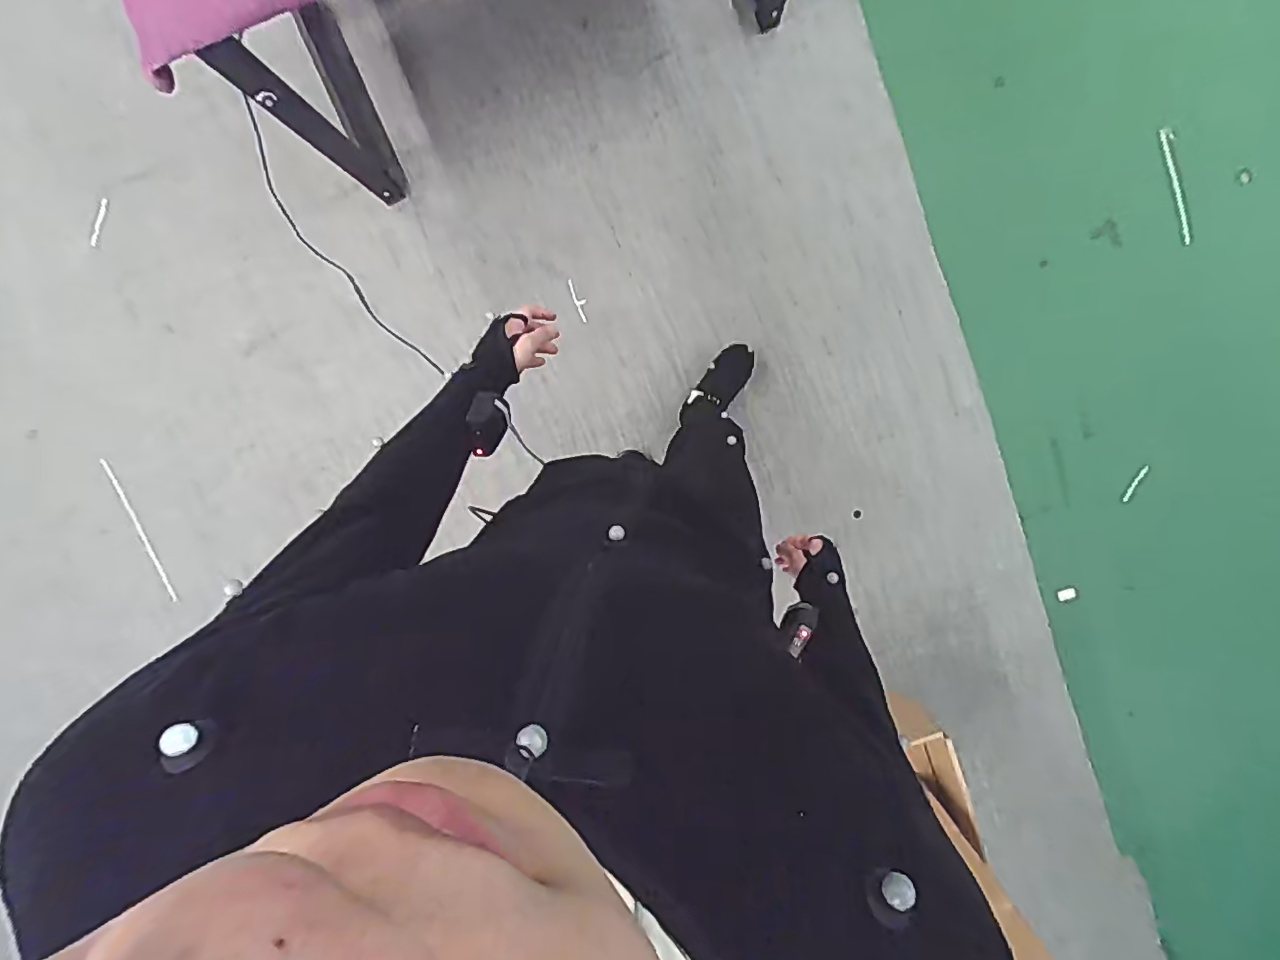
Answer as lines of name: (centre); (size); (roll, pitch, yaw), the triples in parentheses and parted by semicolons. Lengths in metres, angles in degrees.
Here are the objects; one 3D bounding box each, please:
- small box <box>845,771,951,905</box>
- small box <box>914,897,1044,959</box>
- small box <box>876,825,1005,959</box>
small box: (0.586, 0.799, 1.208); (0.168, 0.176, 0.179); (-19, 97, 2)
small box: (0.580, 0.843, 0.885); (0.168, 0.176, 0.179); (-15, 96, 2)
small box: (0.584, 0.820, 1.046); (0.168, 0.176, 0.179); (-16, 97, 2)
